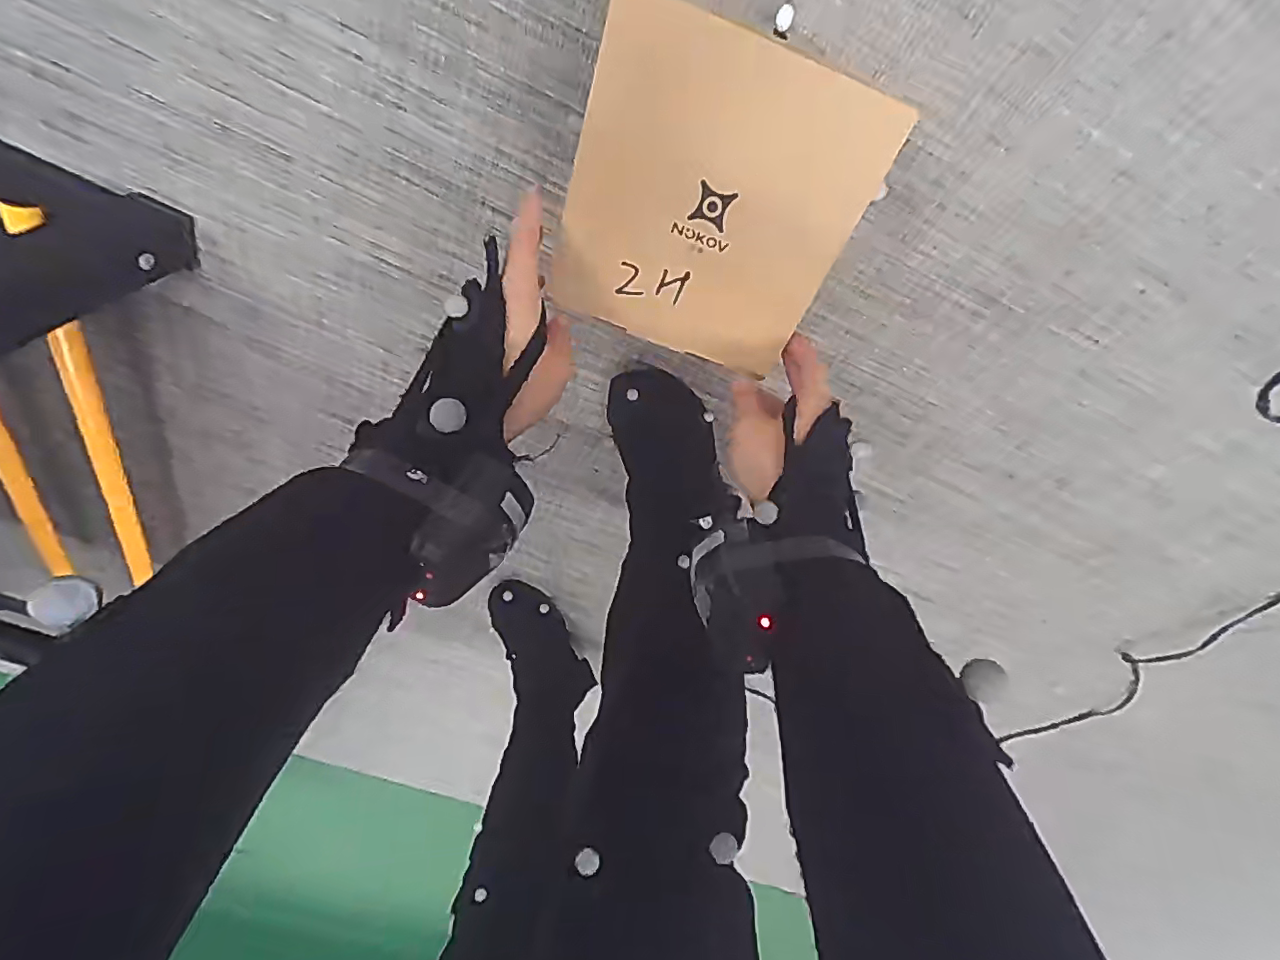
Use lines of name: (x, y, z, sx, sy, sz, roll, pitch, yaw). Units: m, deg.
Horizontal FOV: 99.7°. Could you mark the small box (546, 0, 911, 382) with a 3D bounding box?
small box: (0.048, -0.207, 0.383, 0.168, 0.176, 0.179, 19, 132, -6)
